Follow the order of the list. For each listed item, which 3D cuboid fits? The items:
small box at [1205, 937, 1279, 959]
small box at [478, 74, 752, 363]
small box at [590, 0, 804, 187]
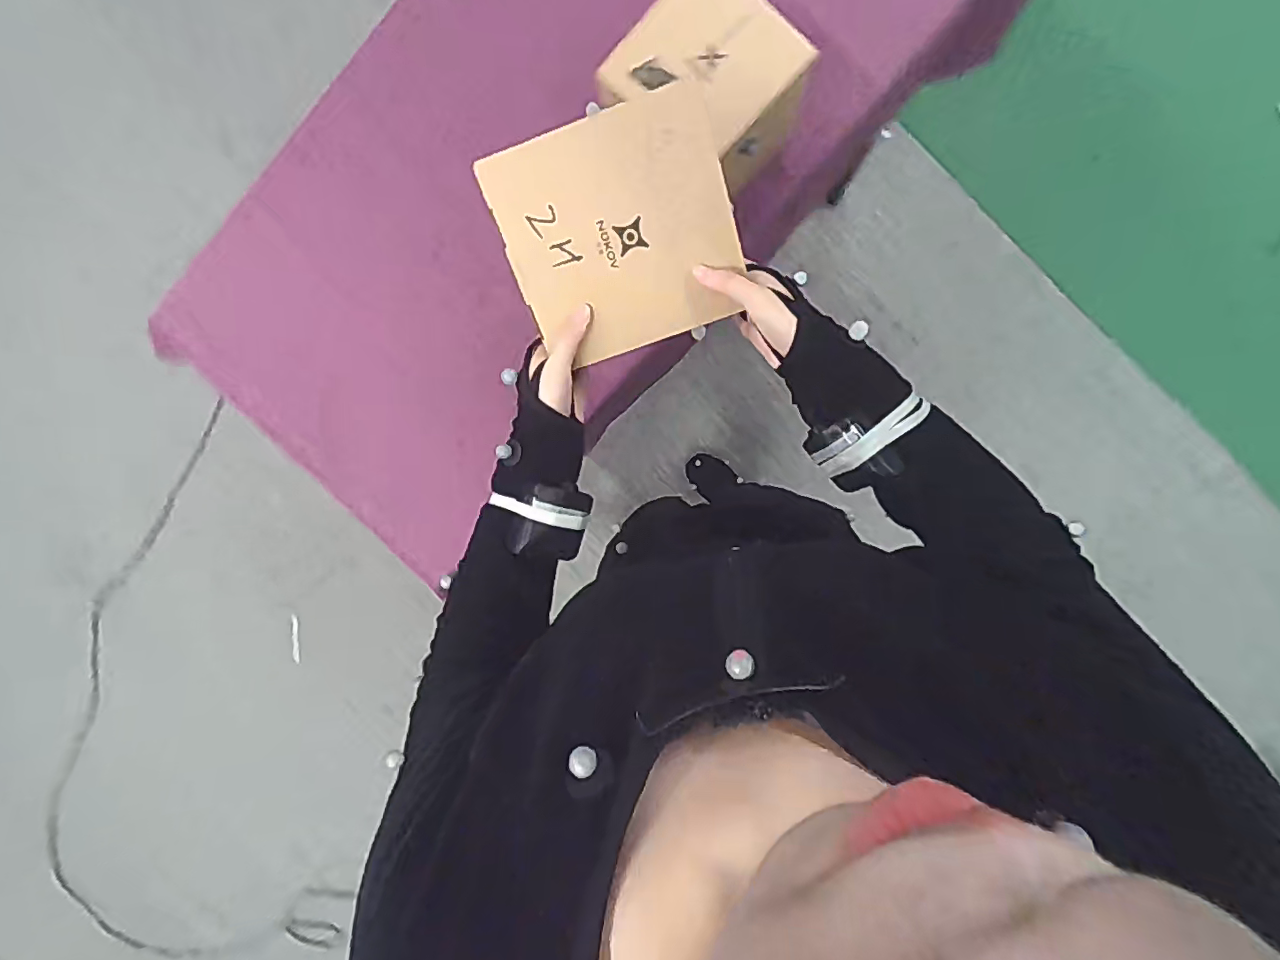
[{"bbox_3d":[1.284,1.084,1.079,0.168,0.176,0.179,-41,92,6],"label":"small box"},{"bbox_3d":[-0.015,-0.223,0.486,0.179,0.176,0.168,-15,112,7],"label":"small box"},{"bbox_3d":[0.068,-0.458,0.662,0.168,0.176,0.179,45,95,1],"label":"small box"}]
